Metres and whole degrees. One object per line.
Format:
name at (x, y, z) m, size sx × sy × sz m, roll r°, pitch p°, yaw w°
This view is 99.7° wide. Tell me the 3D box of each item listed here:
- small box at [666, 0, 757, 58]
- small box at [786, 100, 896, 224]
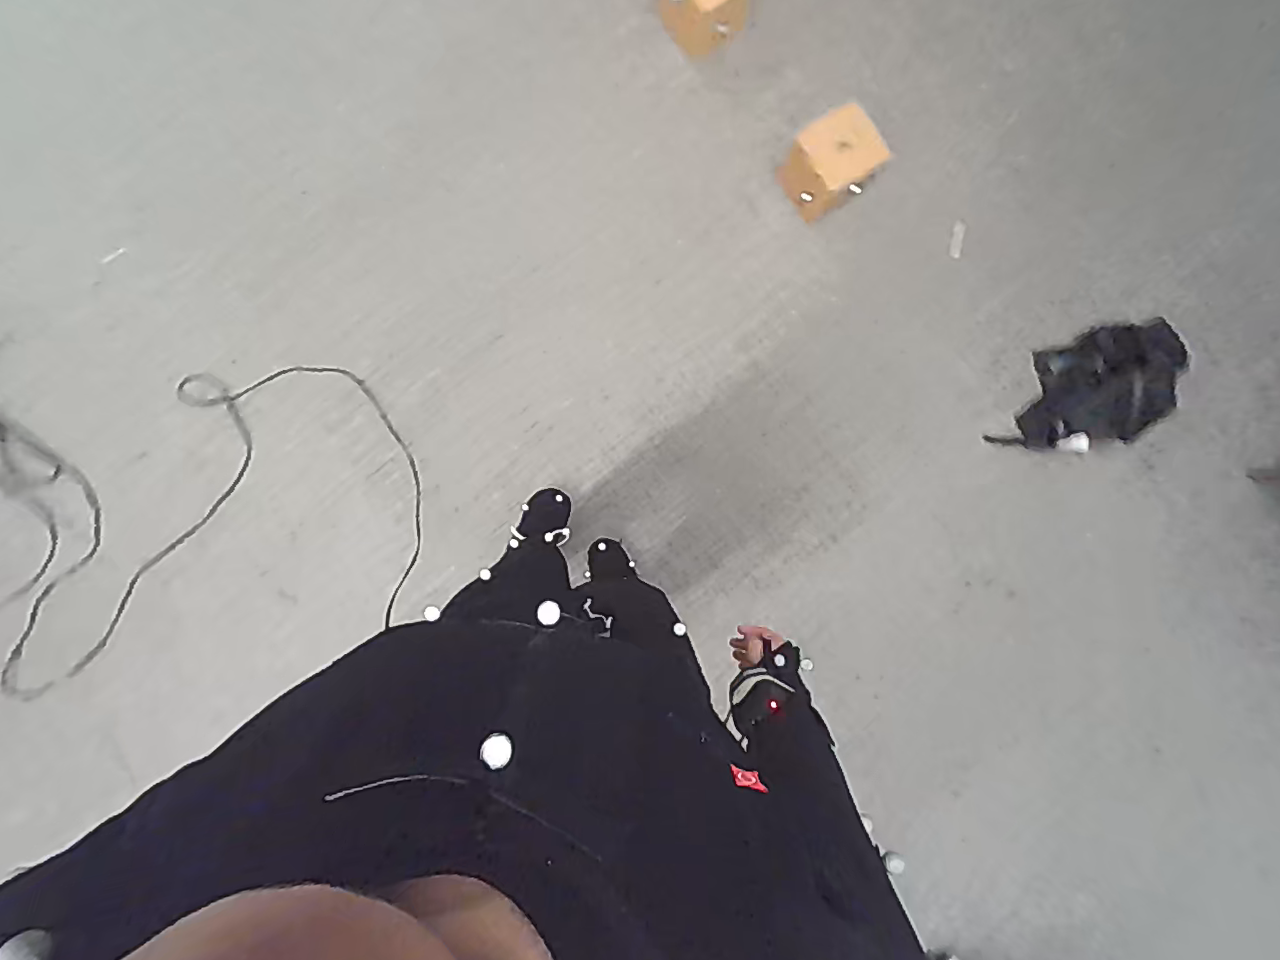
small box at (0.180, -1.201, 1.339) m, size 0.168 × 0.176 × 0.179 m, roll -36°, pitch 89°, yaw -2°
small box at (0.482, -0.773, 1.337) m, size 0.179 × 0.176 × 0.168 m, roll -32°, pitch 91°, yaw -3°
